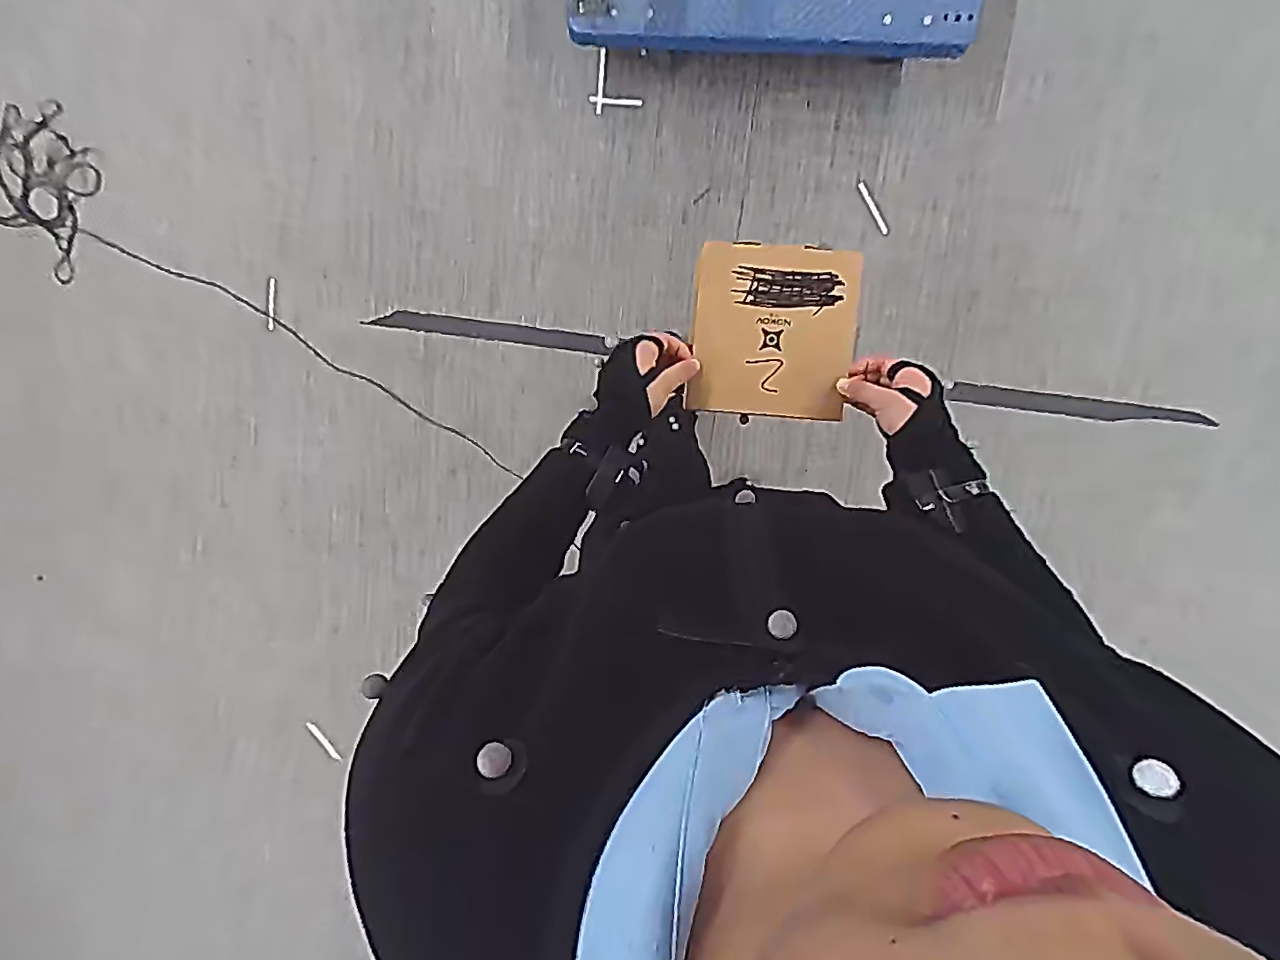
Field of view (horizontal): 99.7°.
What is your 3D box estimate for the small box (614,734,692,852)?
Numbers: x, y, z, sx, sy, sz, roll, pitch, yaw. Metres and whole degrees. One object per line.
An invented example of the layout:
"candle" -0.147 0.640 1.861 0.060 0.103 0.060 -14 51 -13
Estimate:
"small box" 0.038 0.769 1.342 0.168 0.176 0.179 8 98 4
